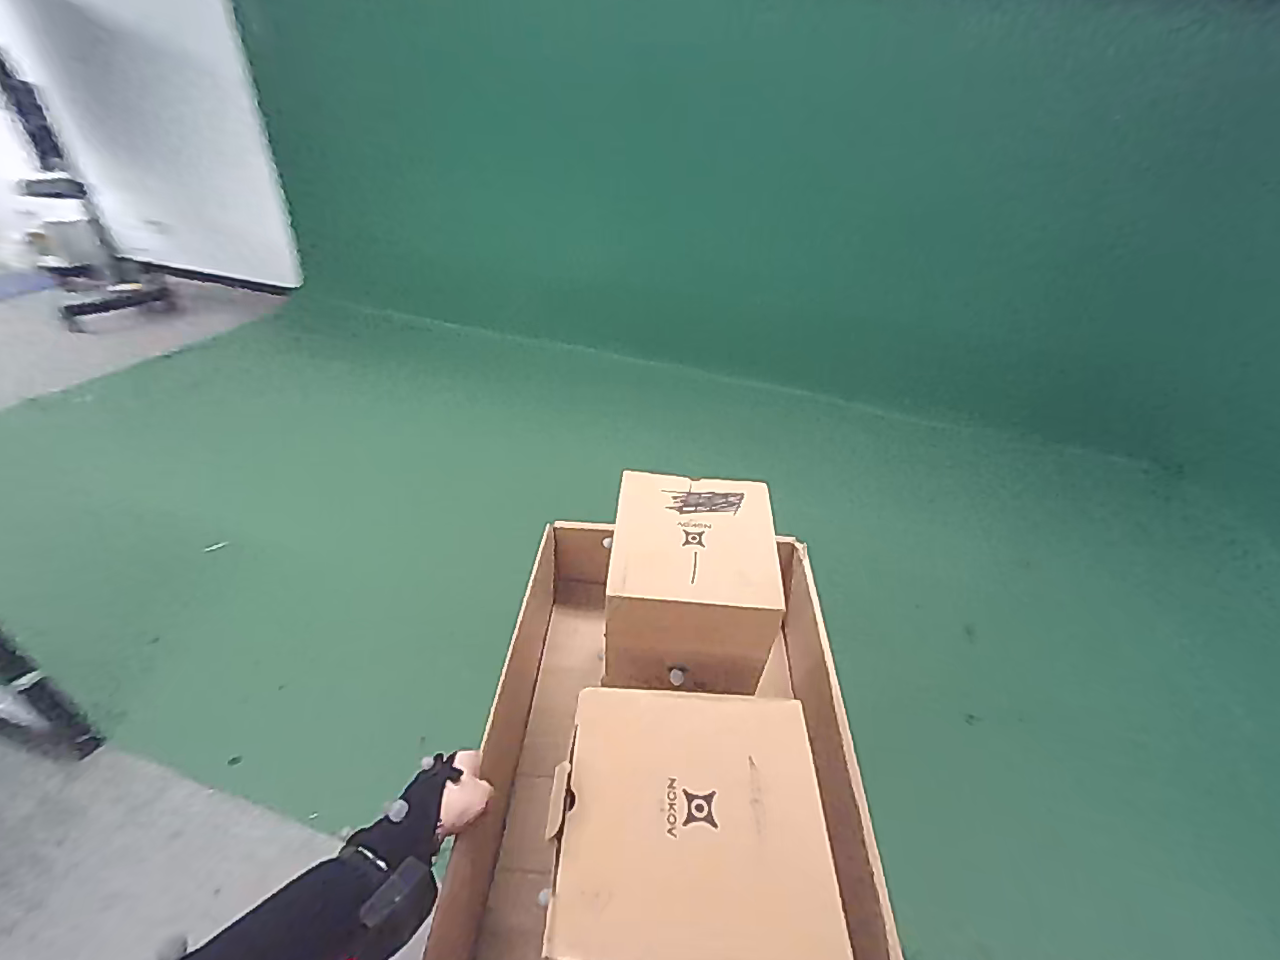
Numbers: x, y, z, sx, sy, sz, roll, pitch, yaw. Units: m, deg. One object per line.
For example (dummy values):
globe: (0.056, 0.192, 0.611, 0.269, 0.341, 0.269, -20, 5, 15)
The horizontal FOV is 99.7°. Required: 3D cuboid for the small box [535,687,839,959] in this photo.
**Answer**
small box: (0.025, 0.280, 0.413, 0.179, 0.176, 0.168, 3, 40, -1)
